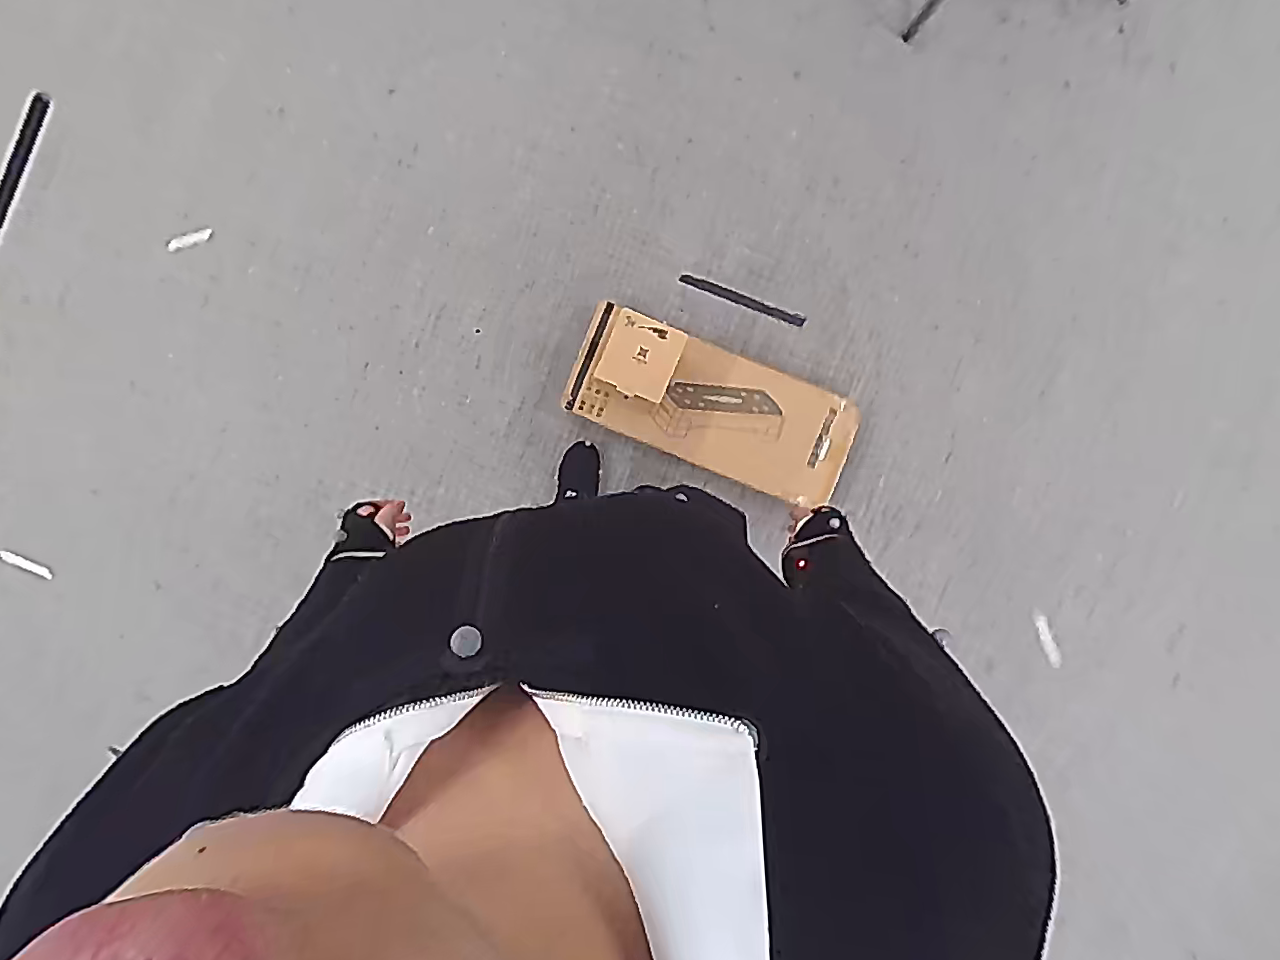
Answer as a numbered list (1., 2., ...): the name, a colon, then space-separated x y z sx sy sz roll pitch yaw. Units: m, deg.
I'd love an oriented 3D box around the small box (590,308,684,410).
1. small box: -0.004 -0.281 1.300 0.168 0.176 0.179 23 92 -1
